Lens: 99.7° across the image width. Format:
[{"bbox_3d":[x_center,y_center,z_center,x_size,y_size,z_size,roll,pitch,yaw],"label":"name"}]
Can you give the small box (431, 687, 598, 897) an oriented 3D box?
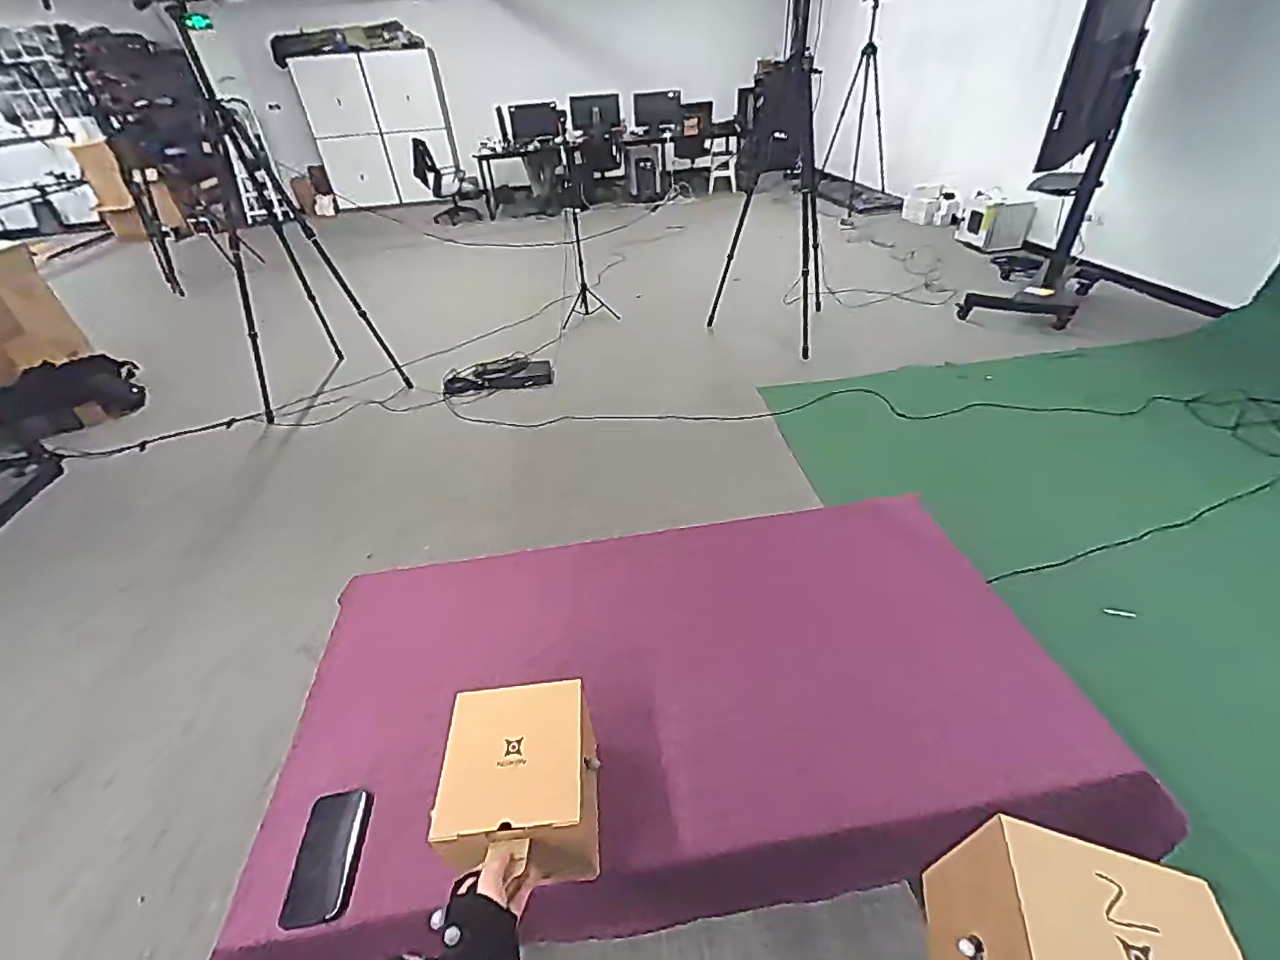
[{"bbox_3d":[-0.144,0.394,0.690,0.168,0.176,0.179,-5,37,-2],"label":"small box"}]
